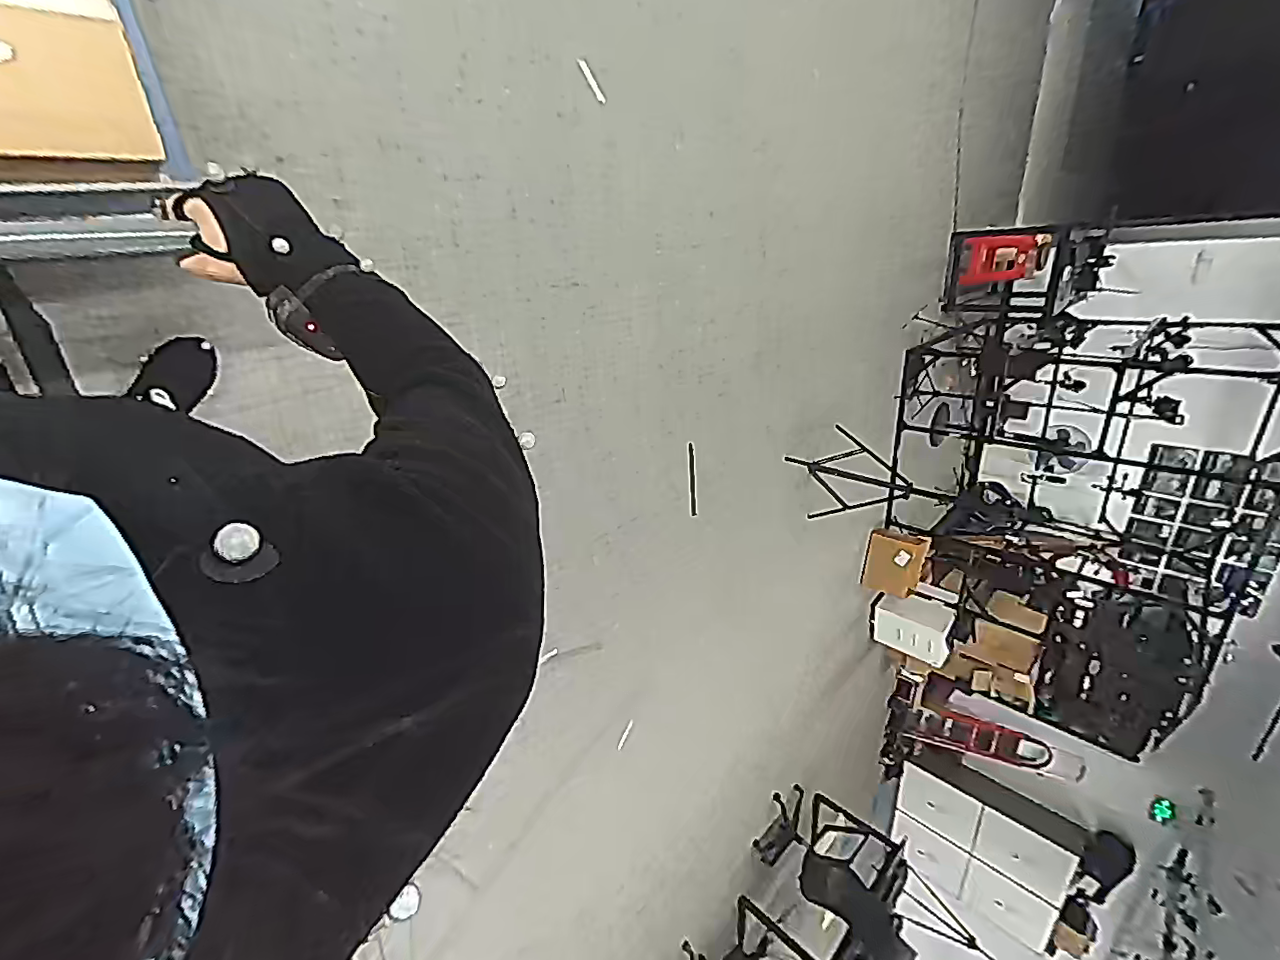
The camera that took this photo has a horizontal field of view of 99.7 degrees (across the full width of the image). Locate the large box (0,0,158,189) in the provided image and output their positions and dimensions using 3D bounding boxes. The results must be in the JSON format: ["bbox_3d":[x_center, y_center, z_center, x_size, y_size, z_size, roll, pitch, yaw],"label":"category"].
[{"bbox_3d":[-0.882,-0.521,0.613,0.408,0.320,0.320,-26,123,-41],"label":"large box"}]
